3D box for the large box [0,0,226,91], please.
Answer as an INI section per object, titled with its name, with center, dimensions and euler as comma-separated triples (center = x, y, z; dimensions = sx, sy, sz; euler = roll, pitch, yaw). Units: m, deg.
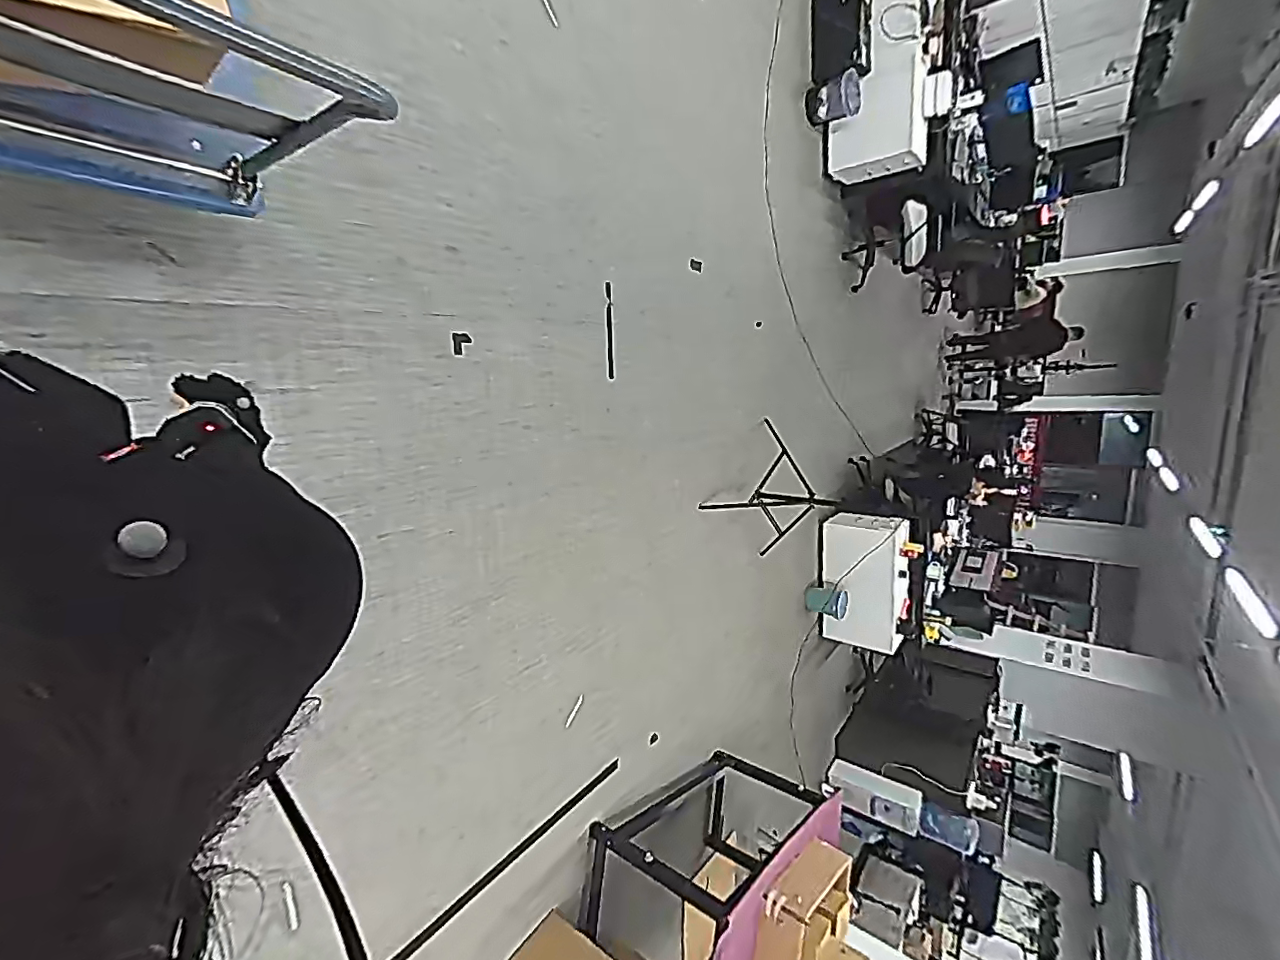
[large box]
center = -0.915, -0.800, 0.756
dimensions = 0.408, 0.320, 0.320
euler = -31, 120, -47
